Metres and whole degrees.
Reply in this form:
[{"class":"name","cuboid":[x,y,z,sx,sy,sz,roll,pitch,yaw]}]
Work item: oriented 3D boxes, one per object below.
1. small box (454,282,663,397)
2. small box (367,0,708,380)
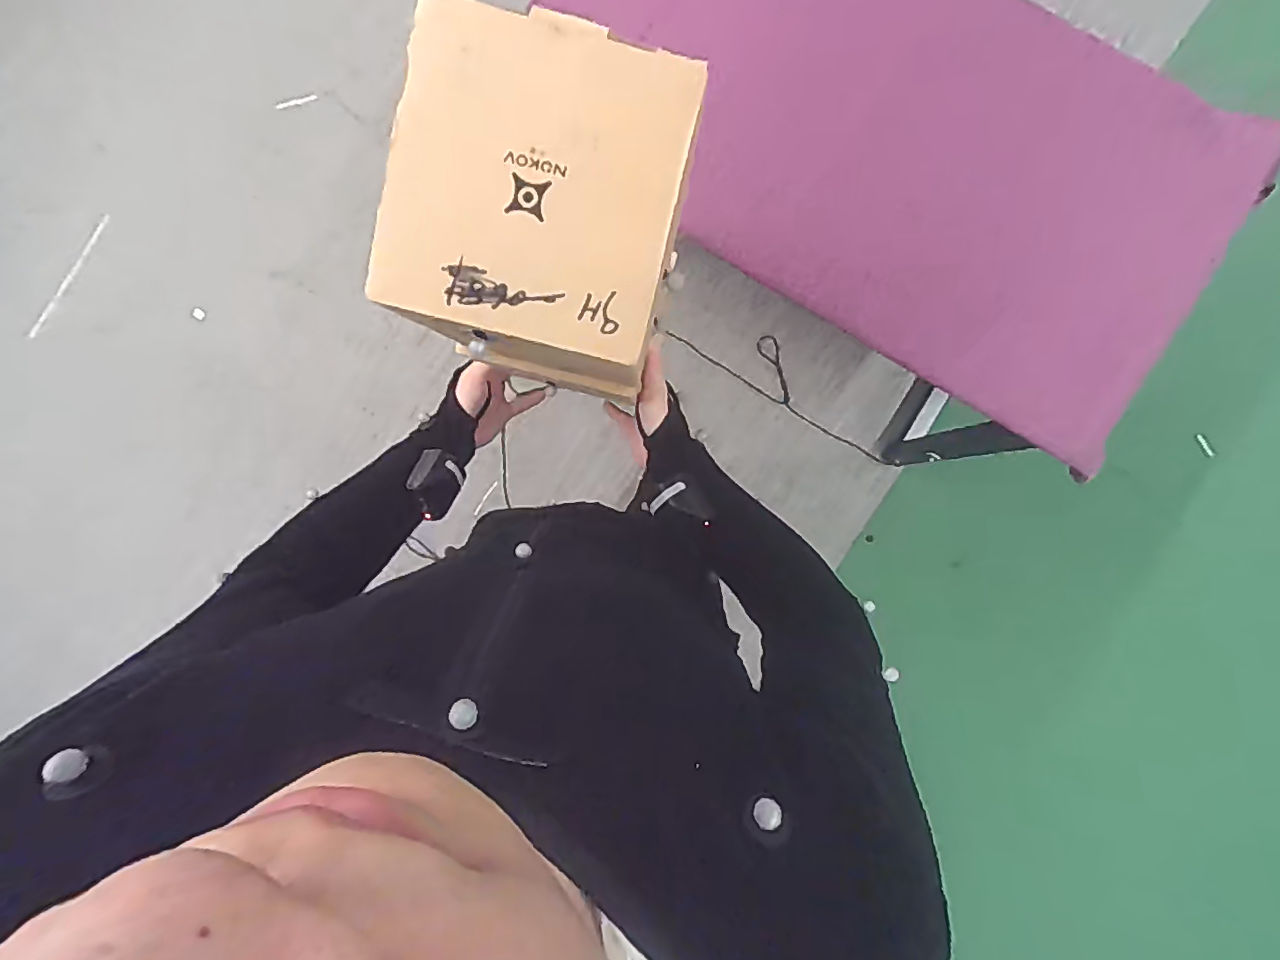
[{"class":"small box","cuboid":[-0.067,-0.189,0.555,0.168,0.176,0.179,15,95,-3]},{"class":"small box","cuboid":[-0.061,-0.182,0.391,0.168,0.176,0.179,14,95,-2]}]
